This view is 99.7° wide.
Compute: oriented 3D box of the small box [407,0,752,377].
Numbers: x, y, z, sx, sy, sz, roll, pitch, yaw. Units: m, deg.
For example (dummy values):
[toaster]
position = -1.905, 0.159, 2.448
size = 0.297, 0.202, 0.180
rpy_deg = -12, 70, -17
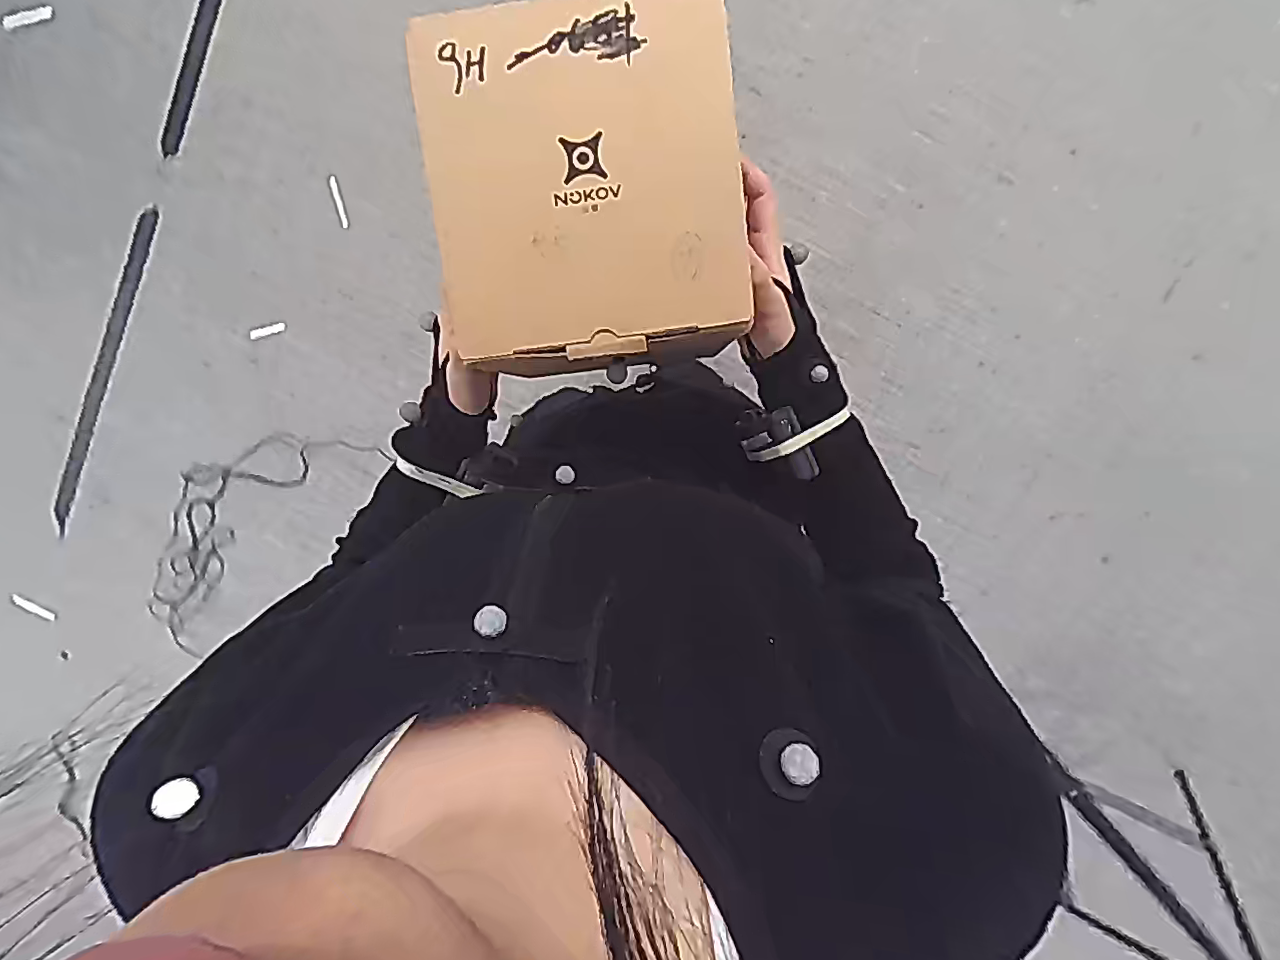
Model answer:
[small box]
position = -0.027, -0.166, 0.364
size = 0.168, 0.176, 0.179
rpy_deg = -7, 99, 1
